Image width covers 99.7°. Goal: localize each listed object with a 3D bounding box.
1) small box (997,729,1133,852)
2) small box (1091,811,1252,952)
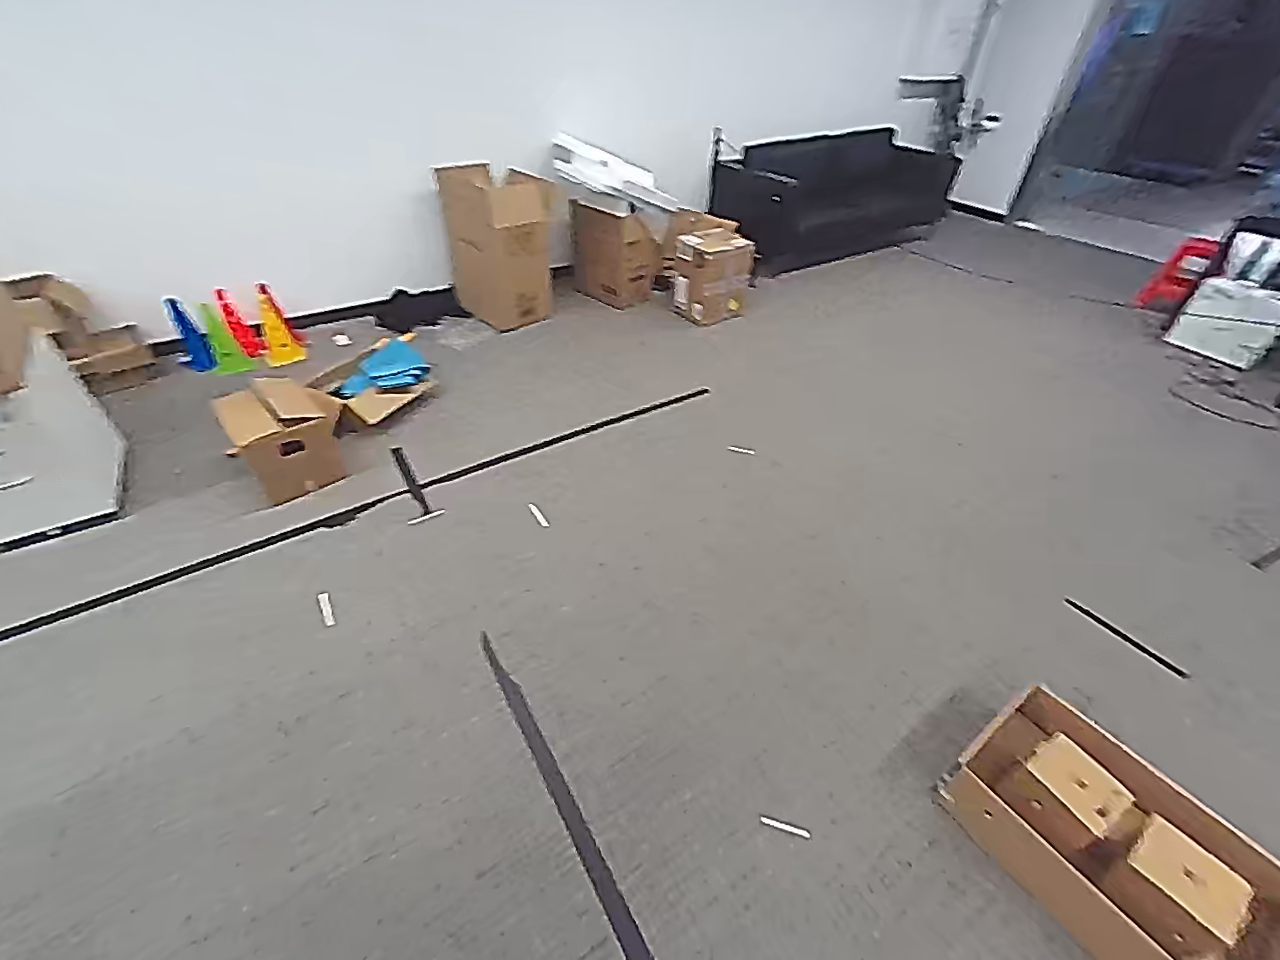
[{"bbox_3d":[1.029,0.761,1.326,0.168,0.176,0.179,-21,45,-24],"label":"small box"},{"bbox_3d":[1.156,0.884,1.187,0.168,0.176,0.179,-25,45,-29],"label":"small box"}]
